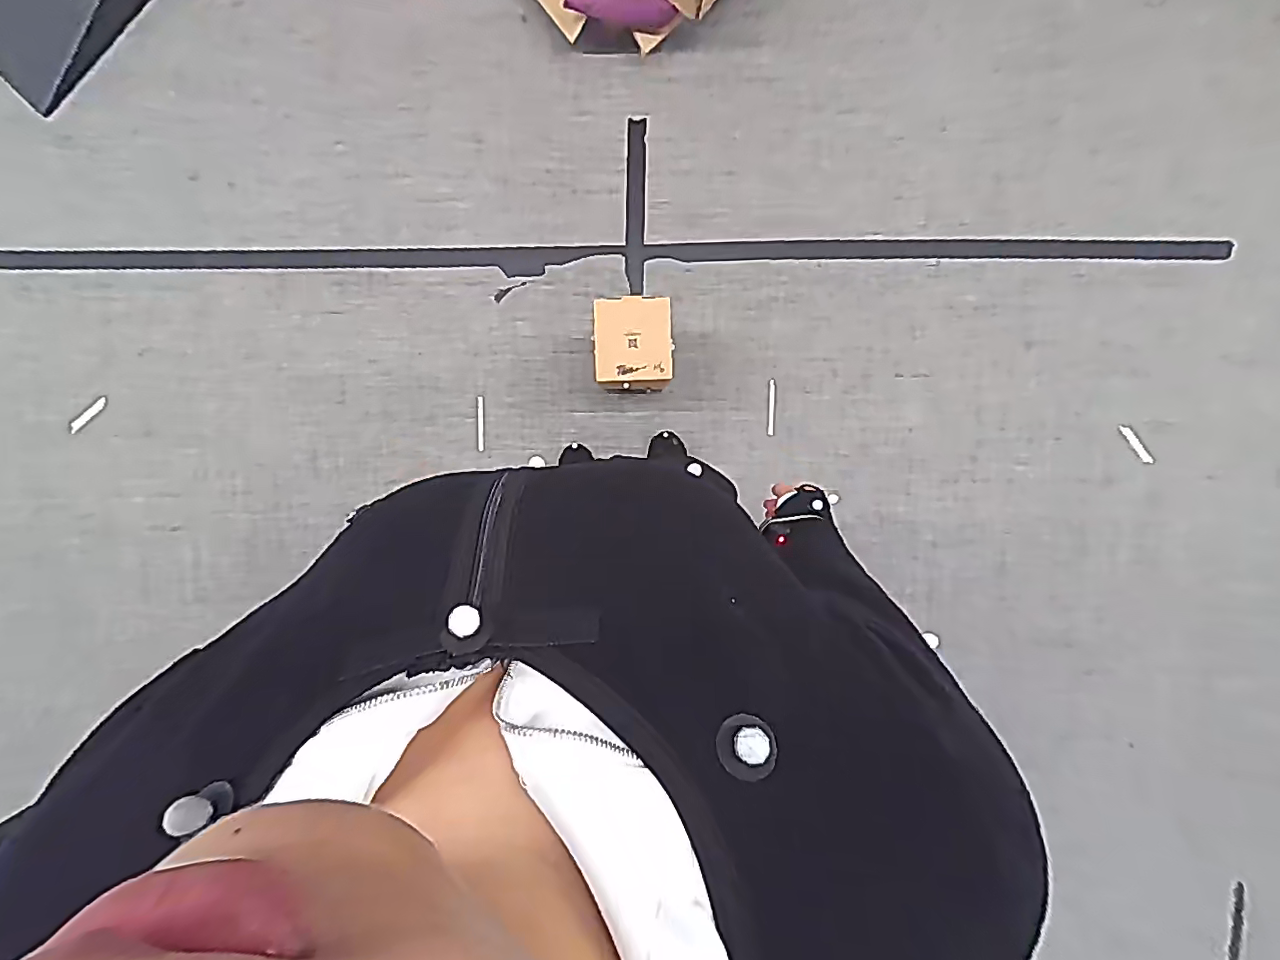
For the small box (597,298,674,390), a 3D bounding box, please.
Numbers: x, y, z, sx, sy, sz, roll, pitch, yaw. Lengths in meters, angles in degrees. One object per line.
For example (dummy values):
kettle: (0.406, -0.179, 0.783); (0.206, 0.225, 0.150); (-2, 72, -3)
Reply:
small box: (-0.012, -0.303, 1.231); (0.168, 0.176, 0.179); (-2, 93, 0)
